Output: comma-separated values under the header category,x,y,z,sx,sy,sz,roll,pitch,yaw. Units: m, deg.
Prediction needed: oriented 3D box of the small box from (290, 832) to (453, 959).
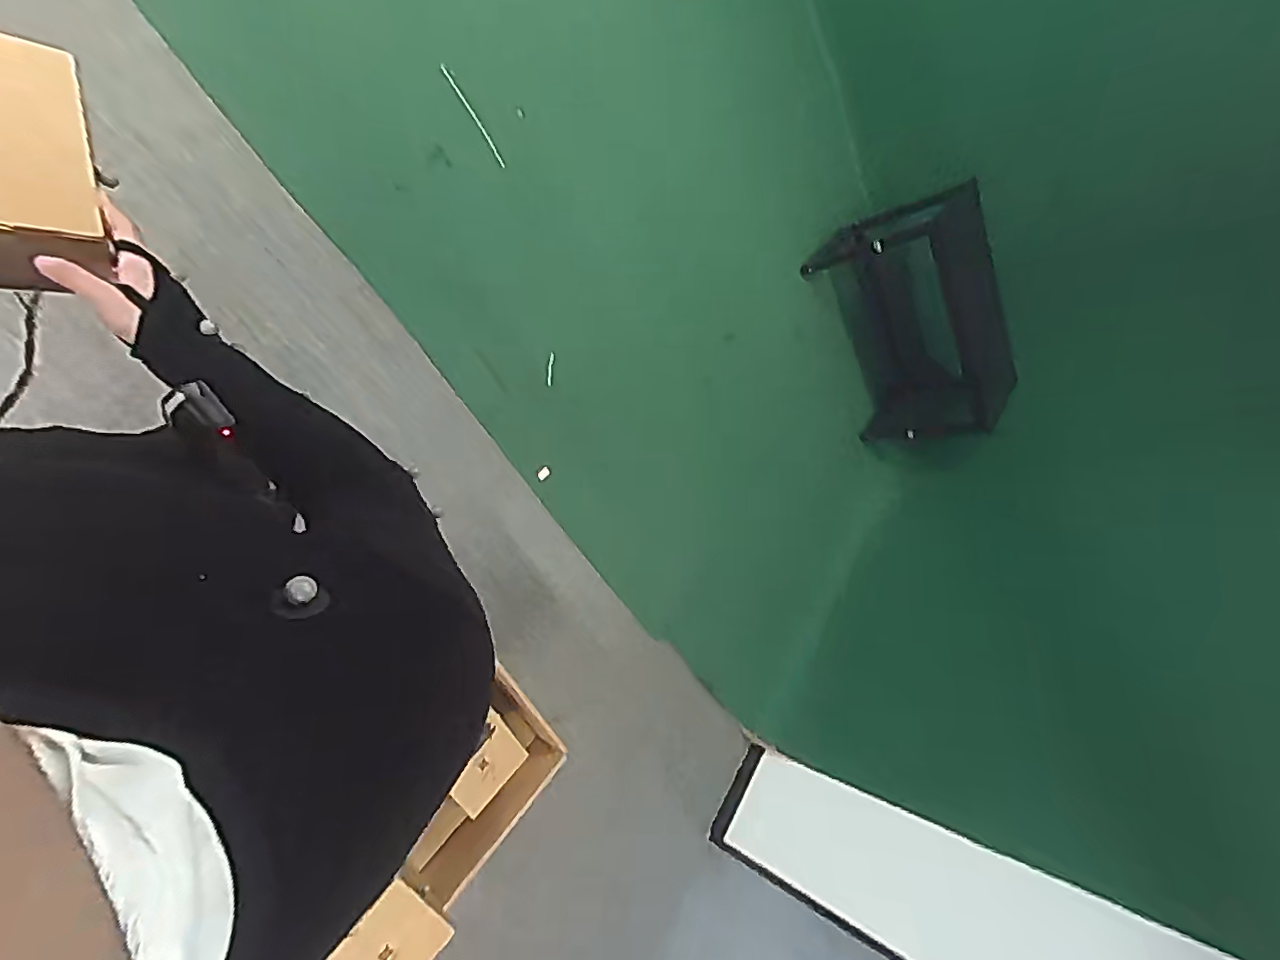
category,x,y,z,sx,sy,sz,roll,pitch,yaw
small box,-0.468,0.765,0.943,0.168,0.176,0.179,-42,116,-33

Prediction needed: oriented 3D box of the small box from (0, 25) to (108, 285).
category,x,y,z,sx,sy,sz,roll,pitch,yaw
small box,-0.631,-0.304,0.510,0.168,0.176,0.179,-11,95,-43
